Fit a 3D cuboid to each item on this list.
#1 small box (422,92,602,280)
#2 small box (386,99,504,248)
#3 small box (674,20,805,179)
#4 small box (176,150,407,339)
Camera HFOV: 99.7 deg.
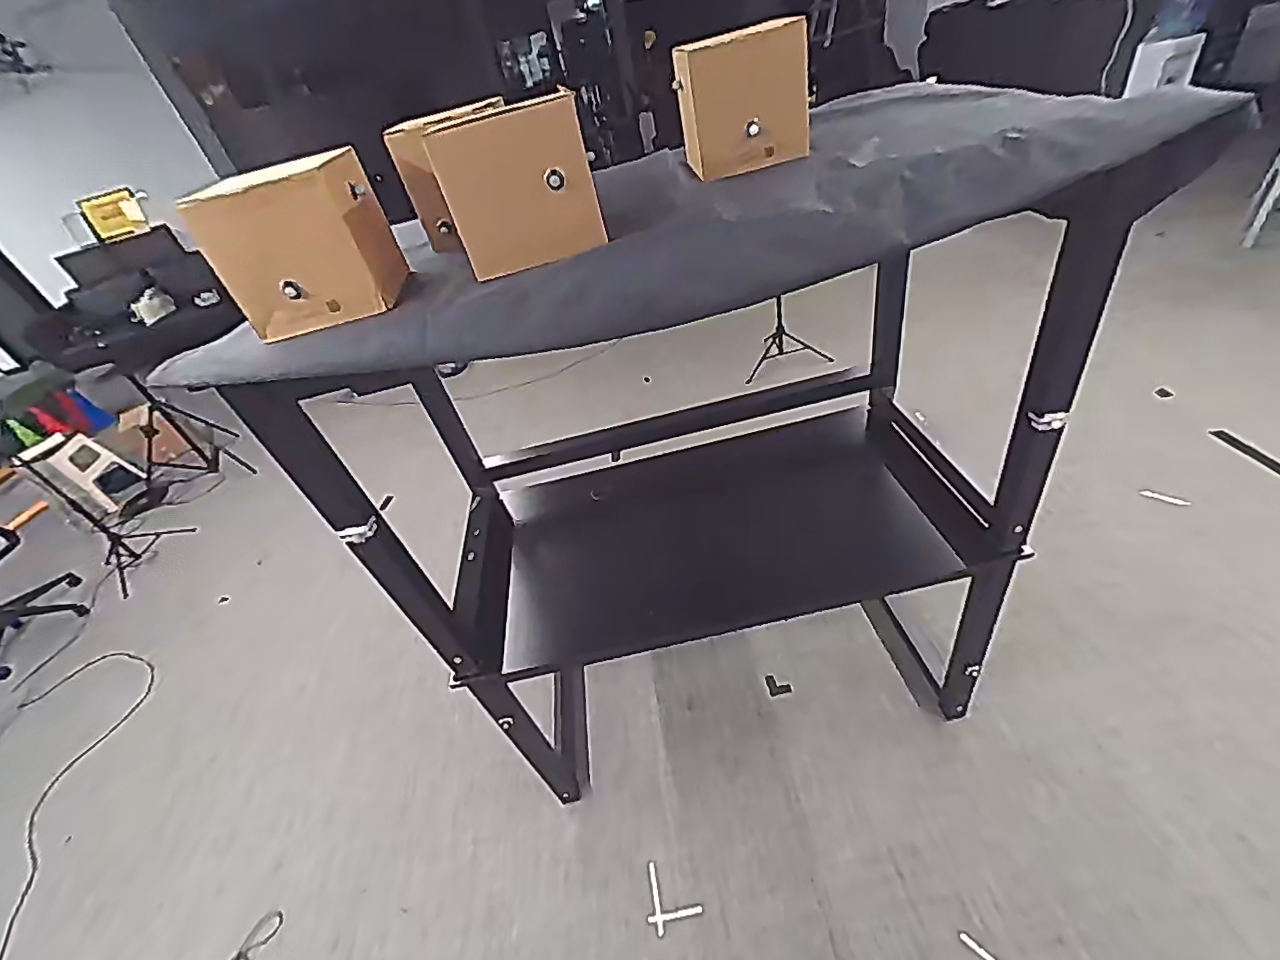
[{"bbox_3d":[-0.152,-0.383,0.704,0.179,0.176,0.168,-15,37,0],"label":"small box"},{"bbox_3d":[-0.278,-0.497,0.884,0.168,0.176,0.179,-14,38,3],"label":"small box"},{"bbox_3d":[0.154,-0.592,0.851,0.168,0.176,0.179,-13,39,5],"label":"small box"},{"bbox_3d":[-0.426,-0.305,0.702,0.168,0.176,0.179,-16,39,-1],"label":"small box"}]
